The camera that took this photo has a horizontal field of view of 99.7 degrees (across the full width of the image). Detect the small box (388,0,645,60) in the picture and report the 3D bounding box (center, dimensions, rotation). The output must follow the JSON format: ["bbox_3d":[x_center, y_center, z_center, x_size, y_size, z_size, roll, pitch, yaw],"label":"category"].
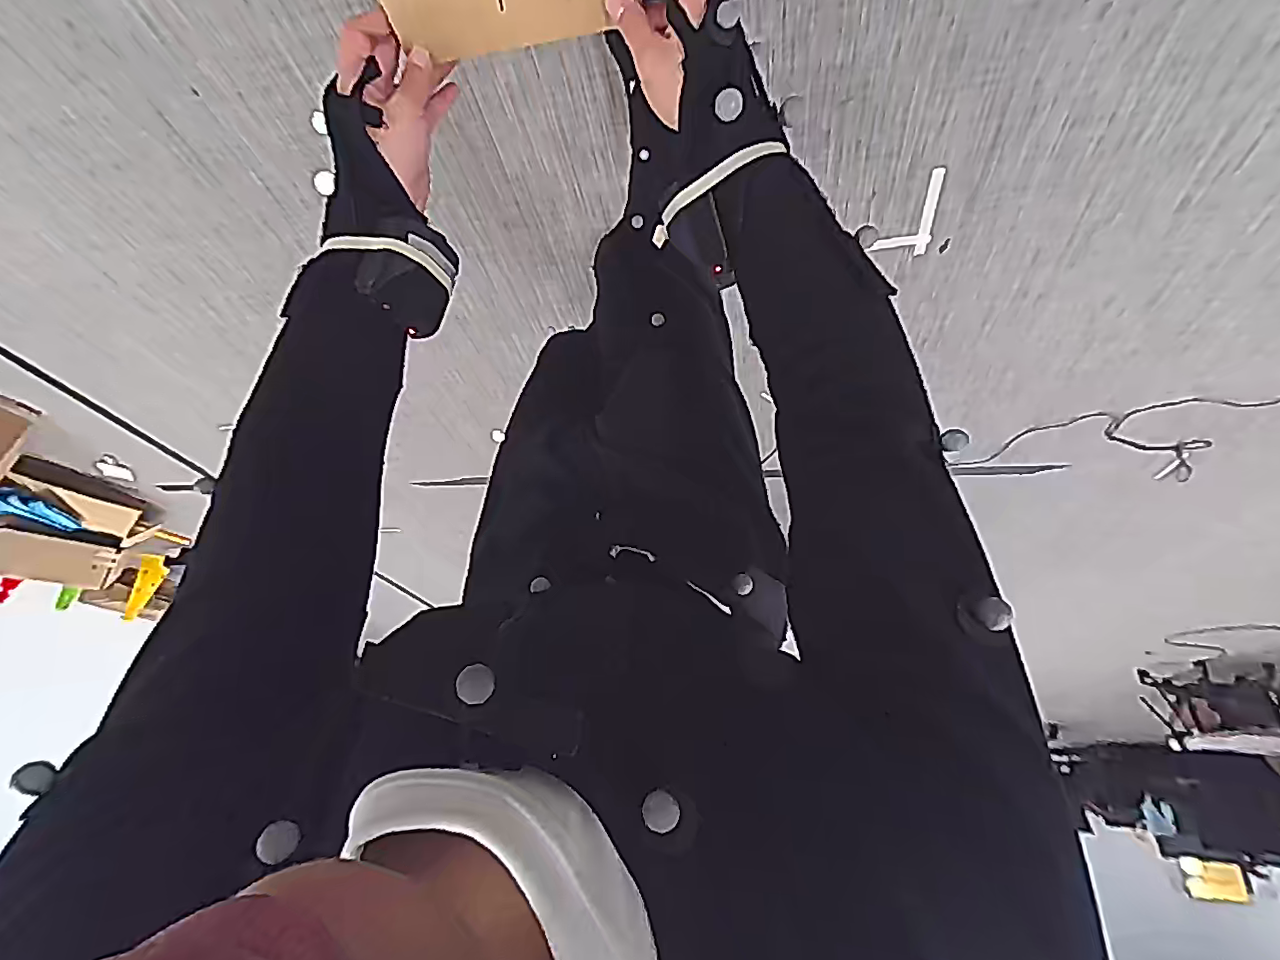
[{"bbox_3d":[-0.086,-0.412,0.341,0.168,0.176,0.179,-1,147,12],"label":"small box"}]
